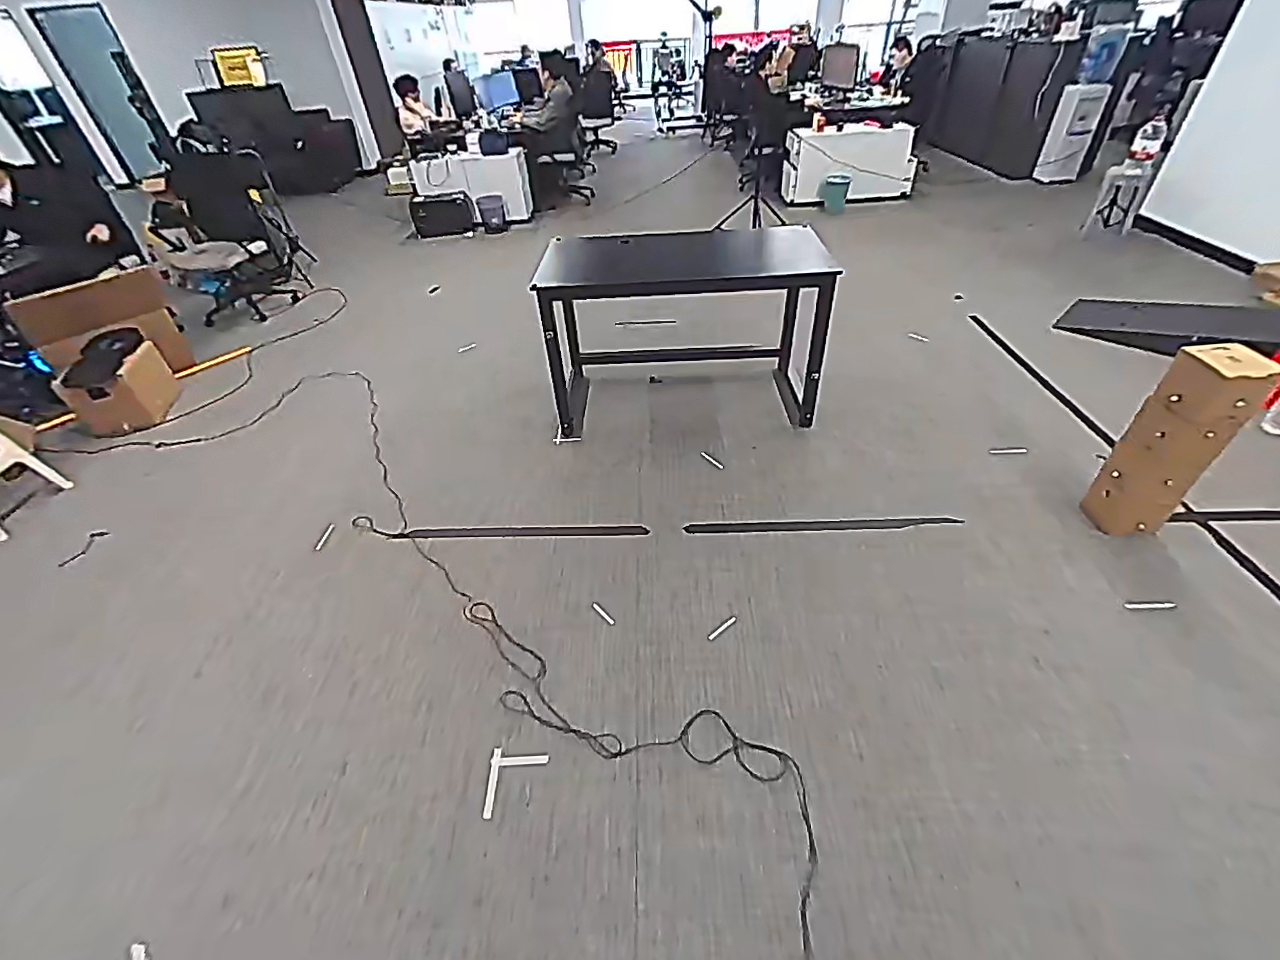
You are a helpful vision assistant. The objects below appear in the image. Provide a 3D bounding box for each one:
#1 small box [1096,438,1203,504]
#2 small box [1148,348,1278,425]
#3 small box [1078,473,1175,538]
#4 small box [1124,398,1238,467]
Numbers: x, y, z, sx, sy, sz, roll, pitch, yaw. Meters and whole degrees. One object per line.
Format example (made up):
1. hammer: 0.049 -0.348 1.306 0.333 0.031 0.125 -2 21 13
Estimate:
1. small box: 1.731 -0.032 1.849 0.179 0.176 0.168 -3 40 4
2. small box: 1.715 -0.276 1.633 0.168 0.176 0.179 -3 42 3
3. small box: 1.747 0.090 1.957 0.168 0.176 0.179 -3 41 3
4. small box: 1.723 -0.154 1.742 0.179 0.176 0.168 -2 42 2
